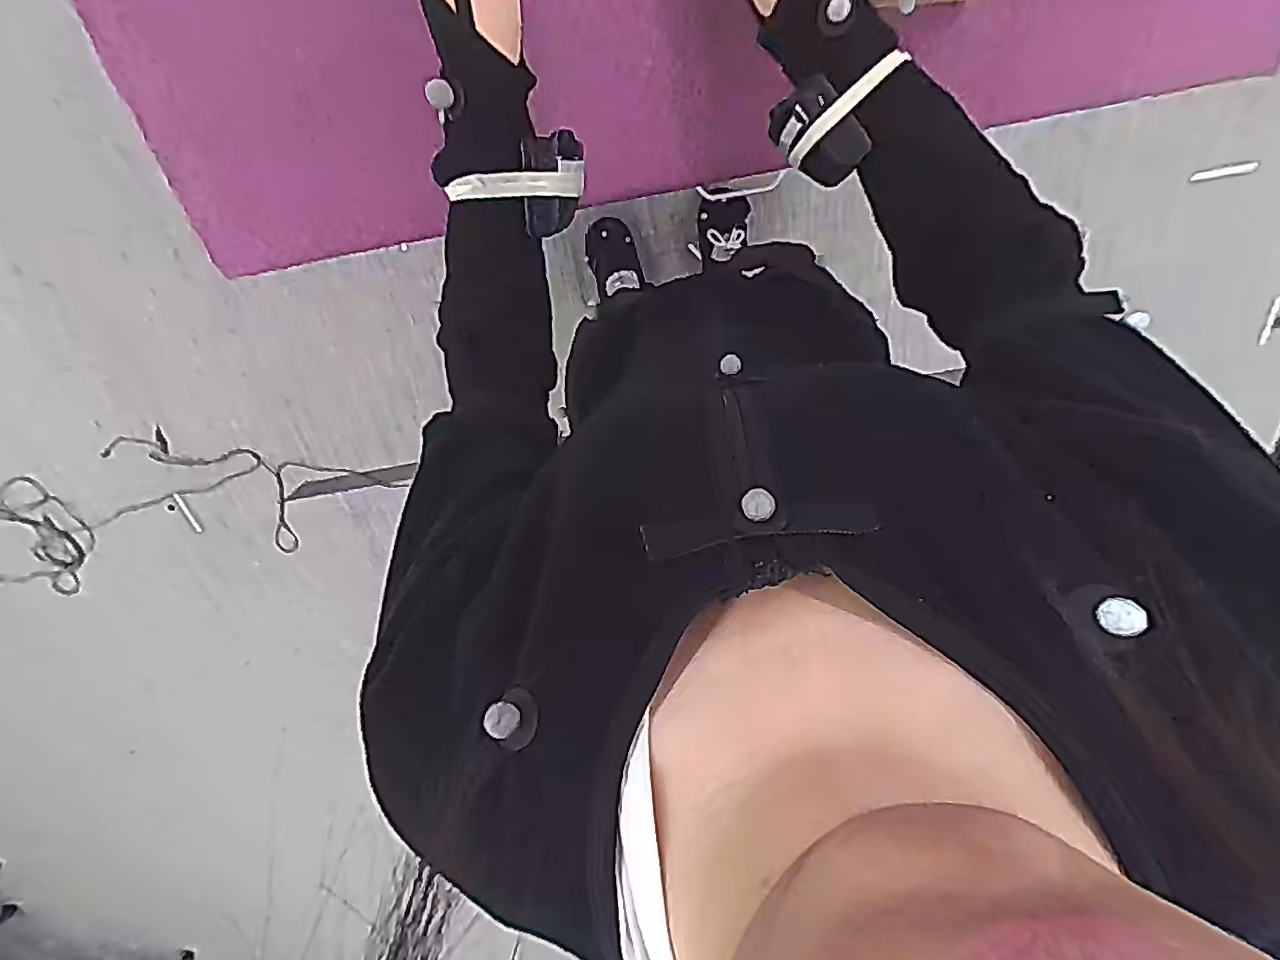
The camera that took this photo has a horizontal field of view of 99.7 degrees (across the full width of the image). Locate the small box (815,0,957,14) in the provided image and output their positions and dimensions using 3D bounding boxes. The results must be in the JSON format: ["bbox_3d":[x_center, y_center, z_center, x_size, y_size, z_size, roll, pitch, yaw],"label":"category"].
[{"bbox_3d":[0.247,-0.520,0.439,0.168,0.176,0.179,-5,118,-1],"label":"small box"}]
